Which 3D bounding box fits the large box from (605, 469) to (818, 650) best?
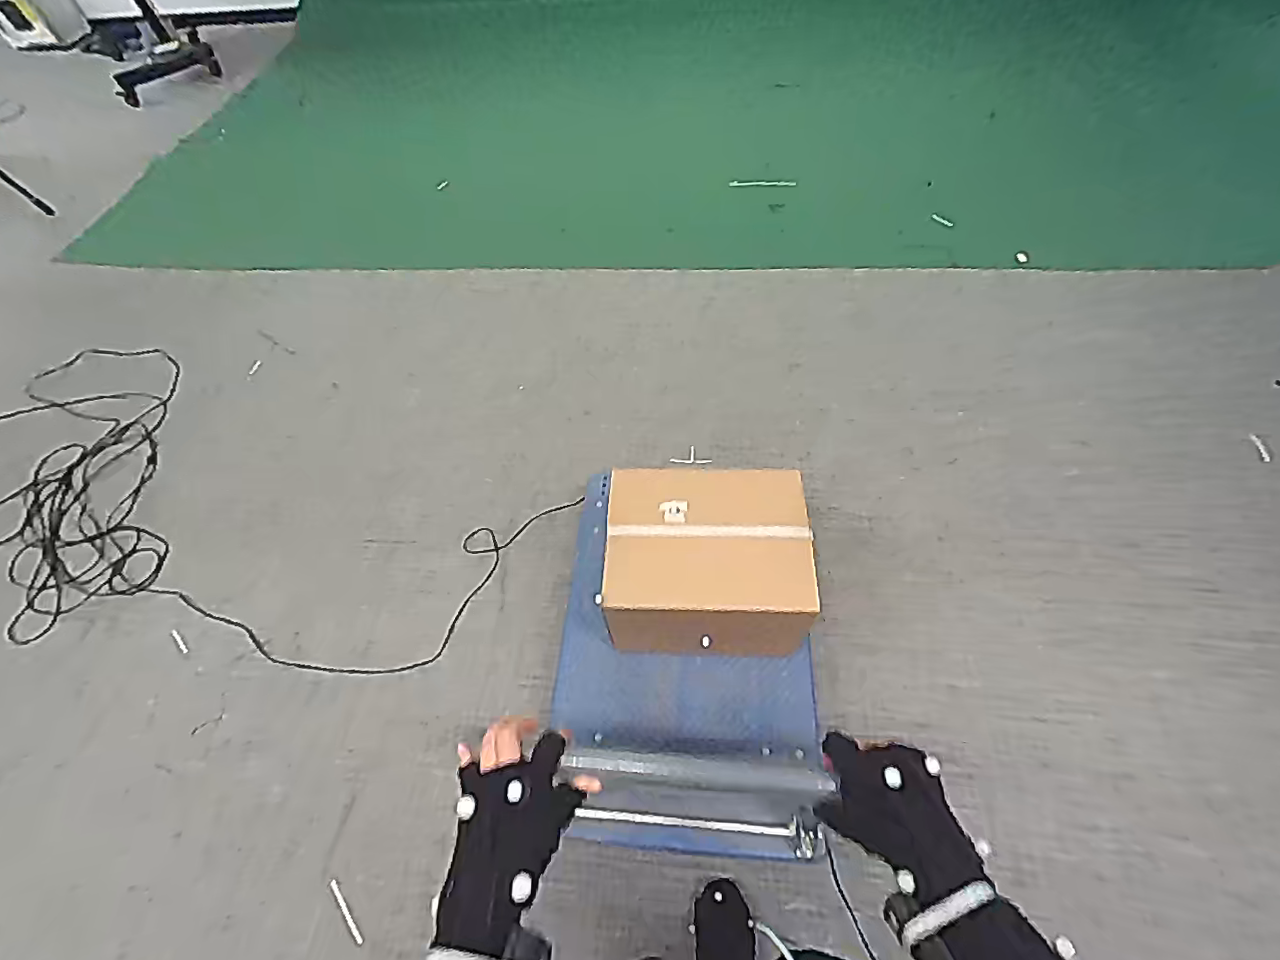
[{"bbox_3d":[0.146,0.187,1.214,0.408,0.320,0.320,0,56,4],"label":"large box"}]
